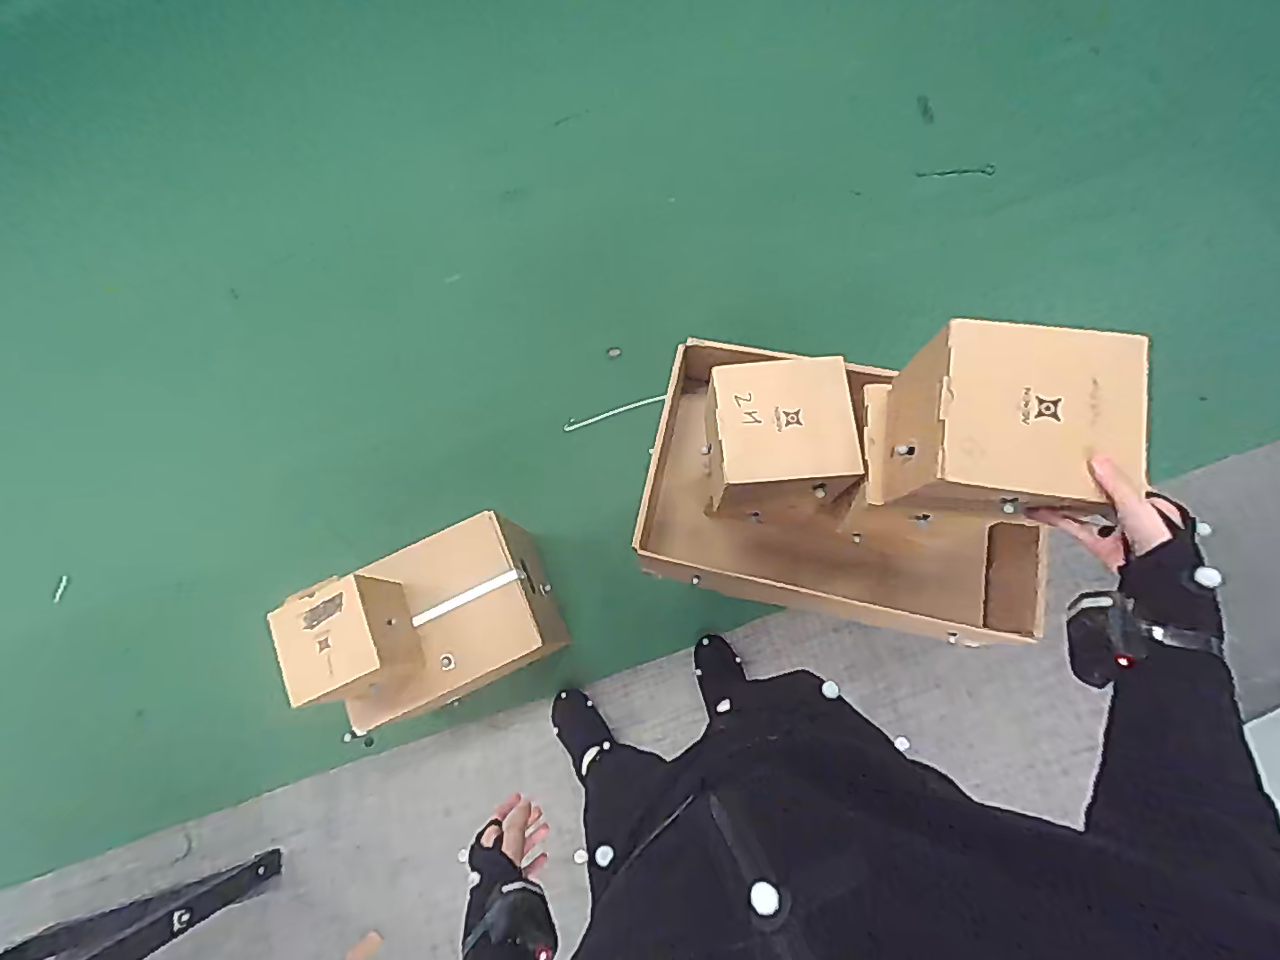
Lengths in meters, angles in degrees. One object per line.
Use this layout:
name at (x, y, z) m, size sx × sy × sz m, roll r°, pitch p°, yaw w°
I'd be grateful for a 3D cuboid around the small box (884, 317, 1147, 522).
small box at (0.381, -0.053, 0.580) m, size 0.179 × 0.176 × 0.168 m, roll 9°, pitch 81°, yaw 8°

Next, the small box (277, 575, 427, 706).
small box at (-0.531, 0.299, 1.015) m, size 0.168 × 0.176 × 0.179 m, roll -25°, pitch 74°, yaw -2°
